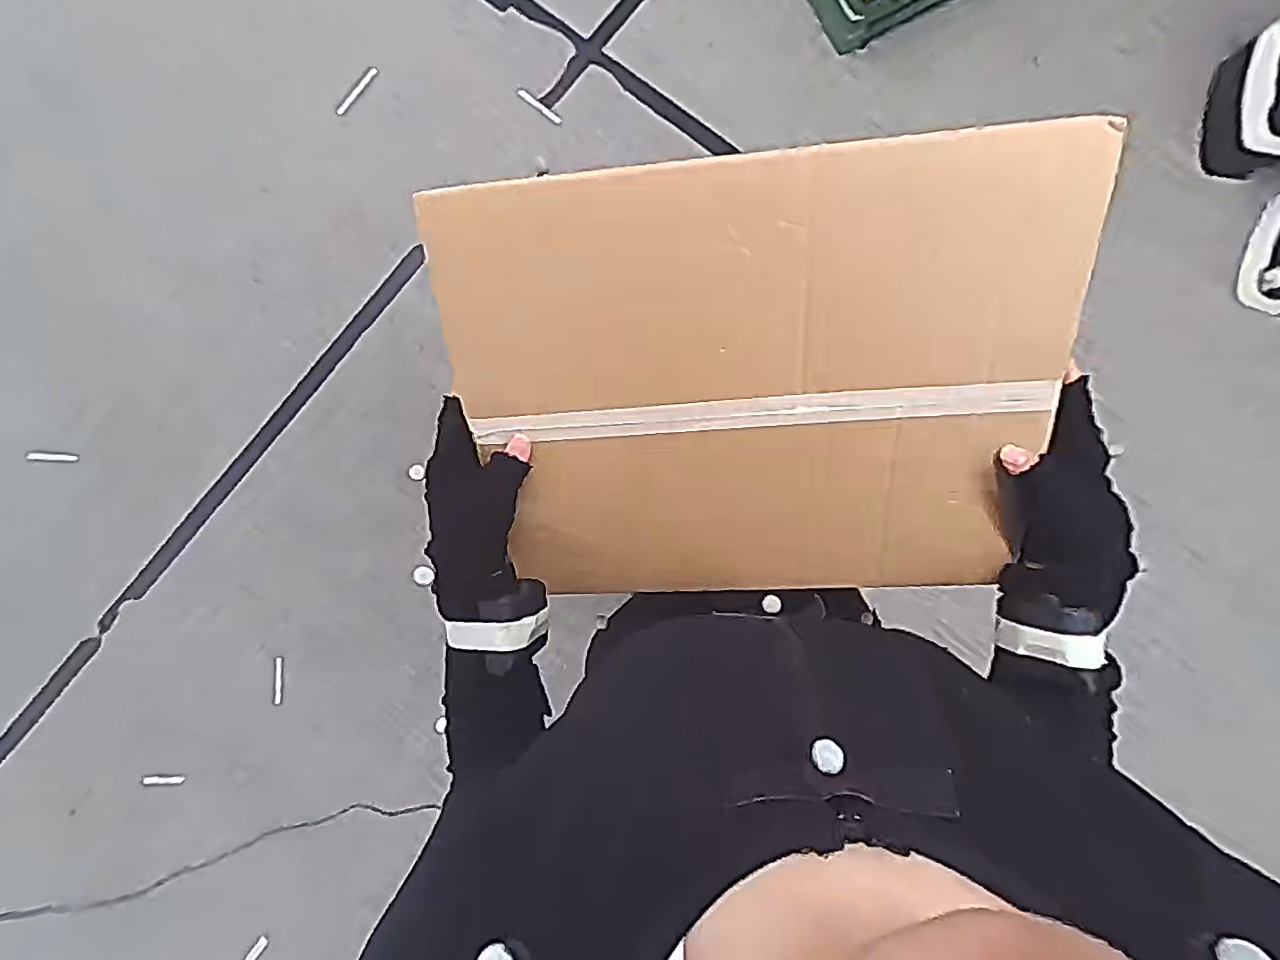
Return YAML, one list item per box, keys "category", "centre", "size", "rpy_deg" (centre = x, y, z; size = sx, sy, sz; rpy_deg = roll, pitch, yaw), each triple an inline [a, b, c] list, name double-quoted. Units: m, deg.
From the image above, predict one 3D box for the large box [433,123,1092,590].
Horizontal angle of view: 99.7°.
- category: "large box"
  centre: [0.086, -0.116, 0.524]
  size: [0.408, 0.320, 0.320]
  rpy_deg: [-3, 117, 6]
